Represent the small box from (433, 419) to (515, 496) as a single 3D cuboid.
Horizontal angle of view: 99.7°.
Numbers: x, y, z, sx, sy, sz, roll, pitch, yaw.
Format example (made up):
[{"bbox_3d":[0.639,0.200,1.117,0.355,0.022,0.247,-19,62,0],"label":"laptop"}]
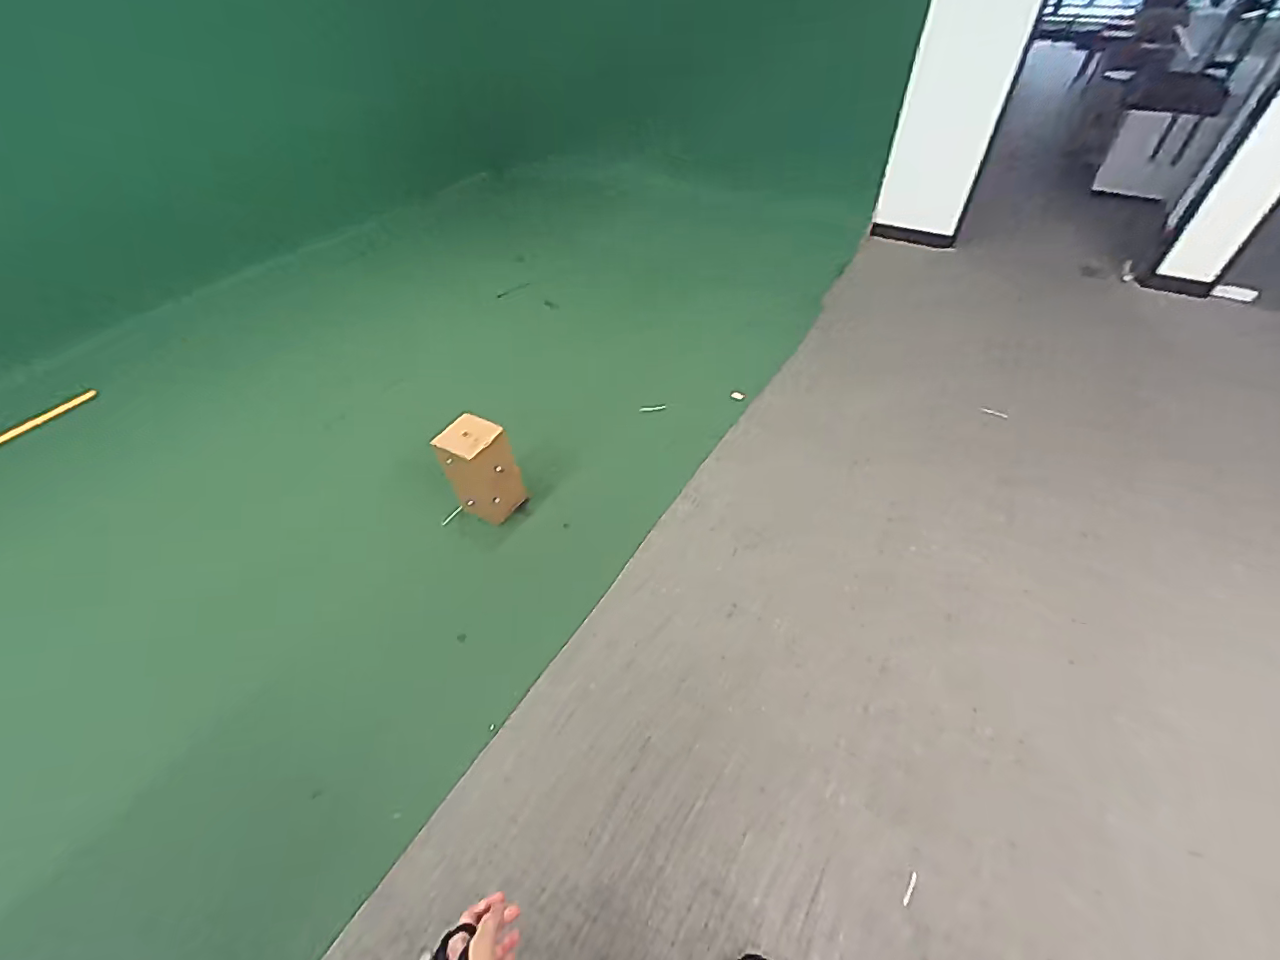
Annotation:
[{"bbox_3d":[-0.549,-0.073,1.806,0.179,0.176,0.168,21,52,22],"label":"small box"}]
